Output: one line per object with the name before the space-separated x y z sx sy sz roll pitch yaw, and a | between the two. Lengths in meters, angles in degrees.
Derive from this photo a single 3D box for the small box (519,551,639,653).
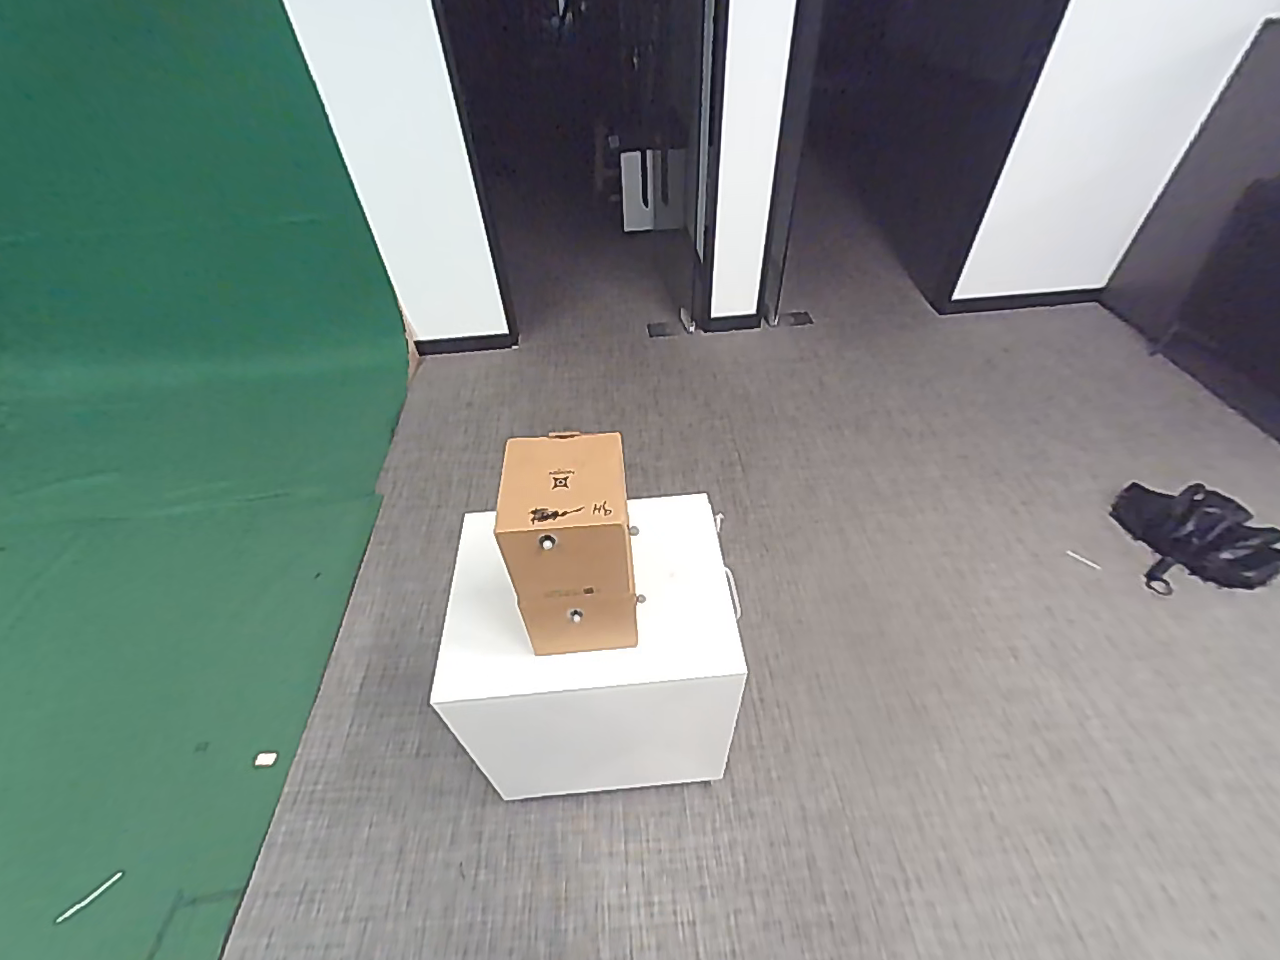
small box | -0.096 0.176 0.909 0.179 0.176 0.168 -4 46 -3

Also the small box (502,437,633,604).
small box | -0.100 0.060 0.796 0.168 0.176 0.179 -5 46 -4
